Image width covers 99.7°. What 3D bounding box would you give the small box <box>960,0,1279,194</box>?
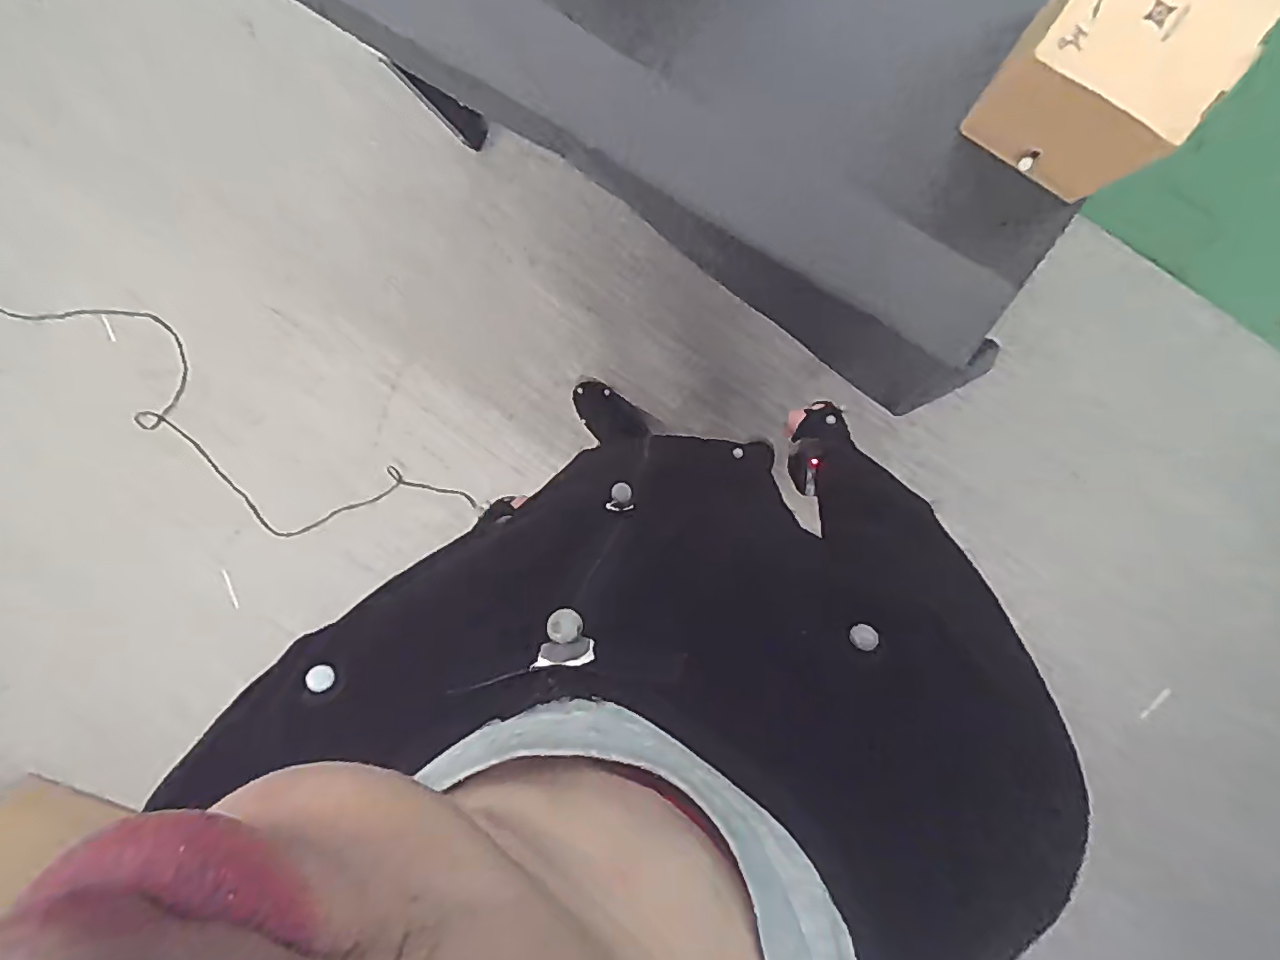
[{"bbox_3d":[0.512,-0.451,0.601,0.179,0.176,0.168,33,101,-1],"label":"small box"}]
